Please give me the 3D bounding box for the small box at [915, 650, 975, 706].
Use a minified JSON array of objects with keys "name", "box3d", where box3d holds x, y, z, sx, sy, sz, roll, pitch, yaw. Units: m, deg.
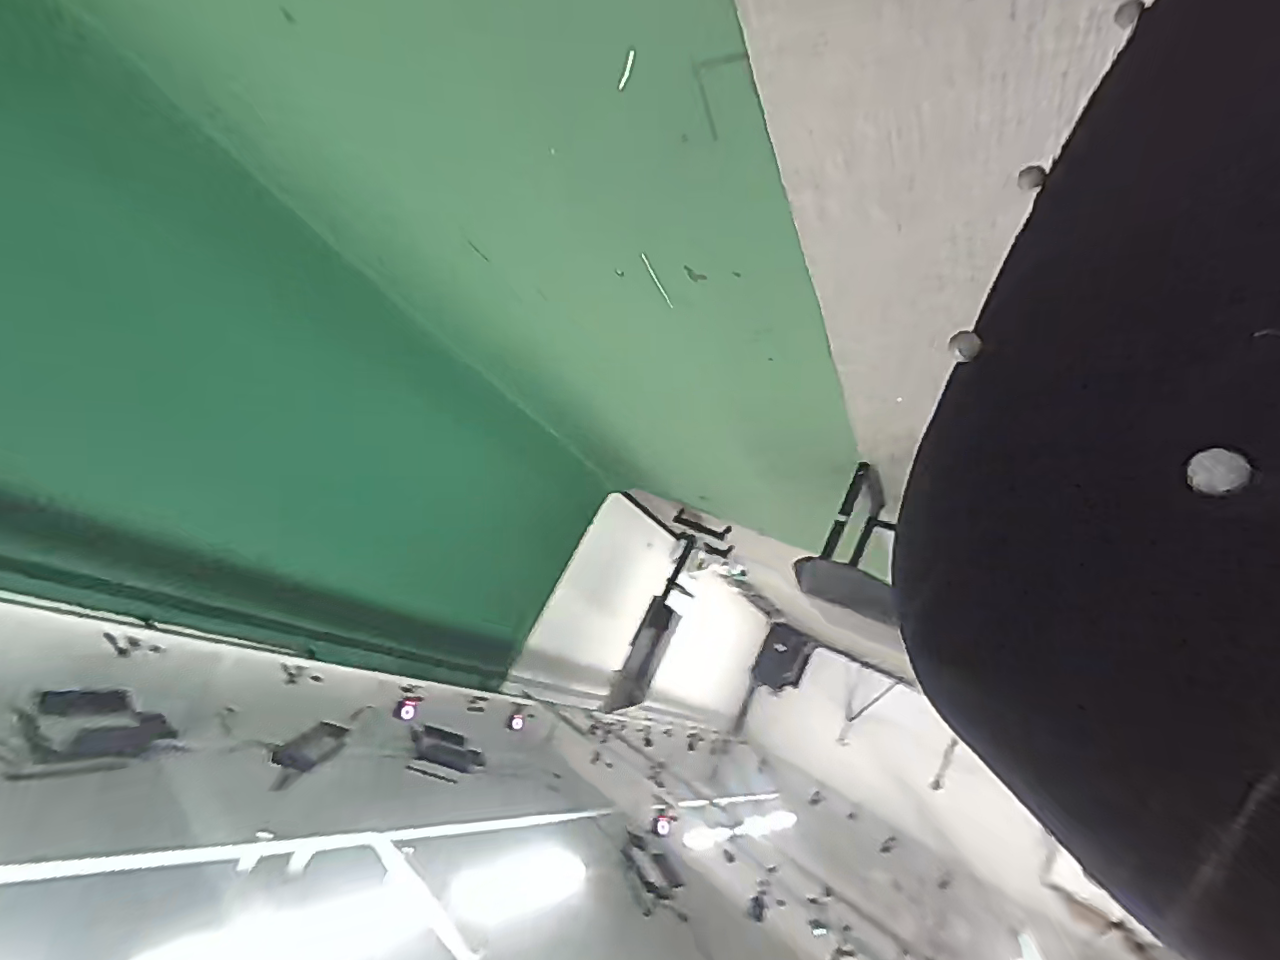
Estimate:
[{"name":"small box","box3d":[1.291,0.835,2.296,0.179,0.176,0.168,21,168,33]}]
